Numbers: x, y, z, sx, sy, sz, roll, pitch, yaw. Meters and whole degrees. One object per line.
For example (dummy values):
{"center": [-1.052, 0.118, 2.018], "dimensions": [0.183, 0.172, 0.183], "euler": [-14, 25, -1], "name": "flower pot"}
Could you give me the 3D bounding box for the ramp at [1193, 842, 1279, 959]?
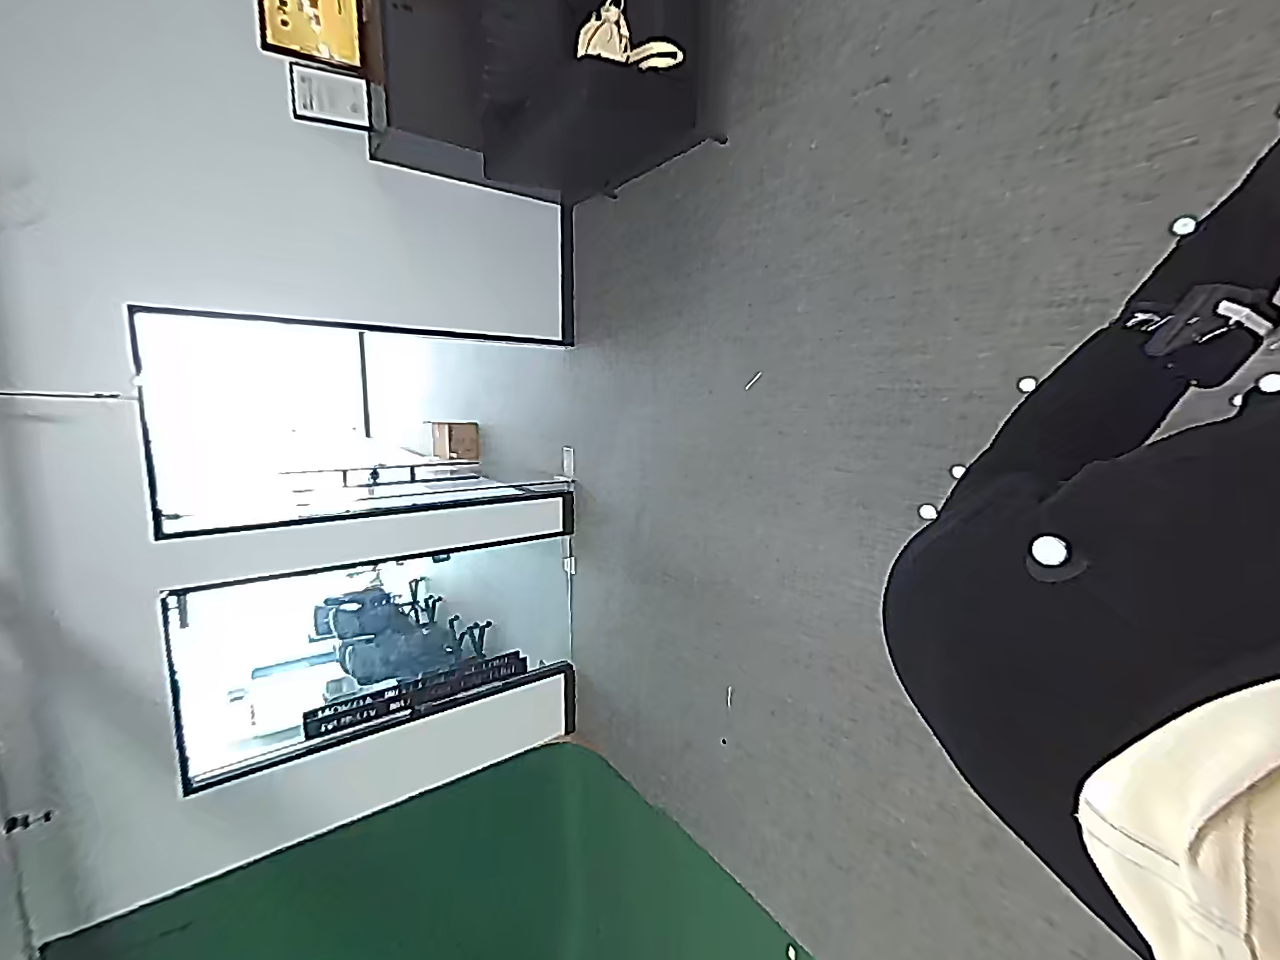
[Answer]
{"center": [1.359, 1.314, 1.031], "dimensions": [0.509, 0.206, 0.991], "euler": [9, 101, 55], "name": "ramp"}
